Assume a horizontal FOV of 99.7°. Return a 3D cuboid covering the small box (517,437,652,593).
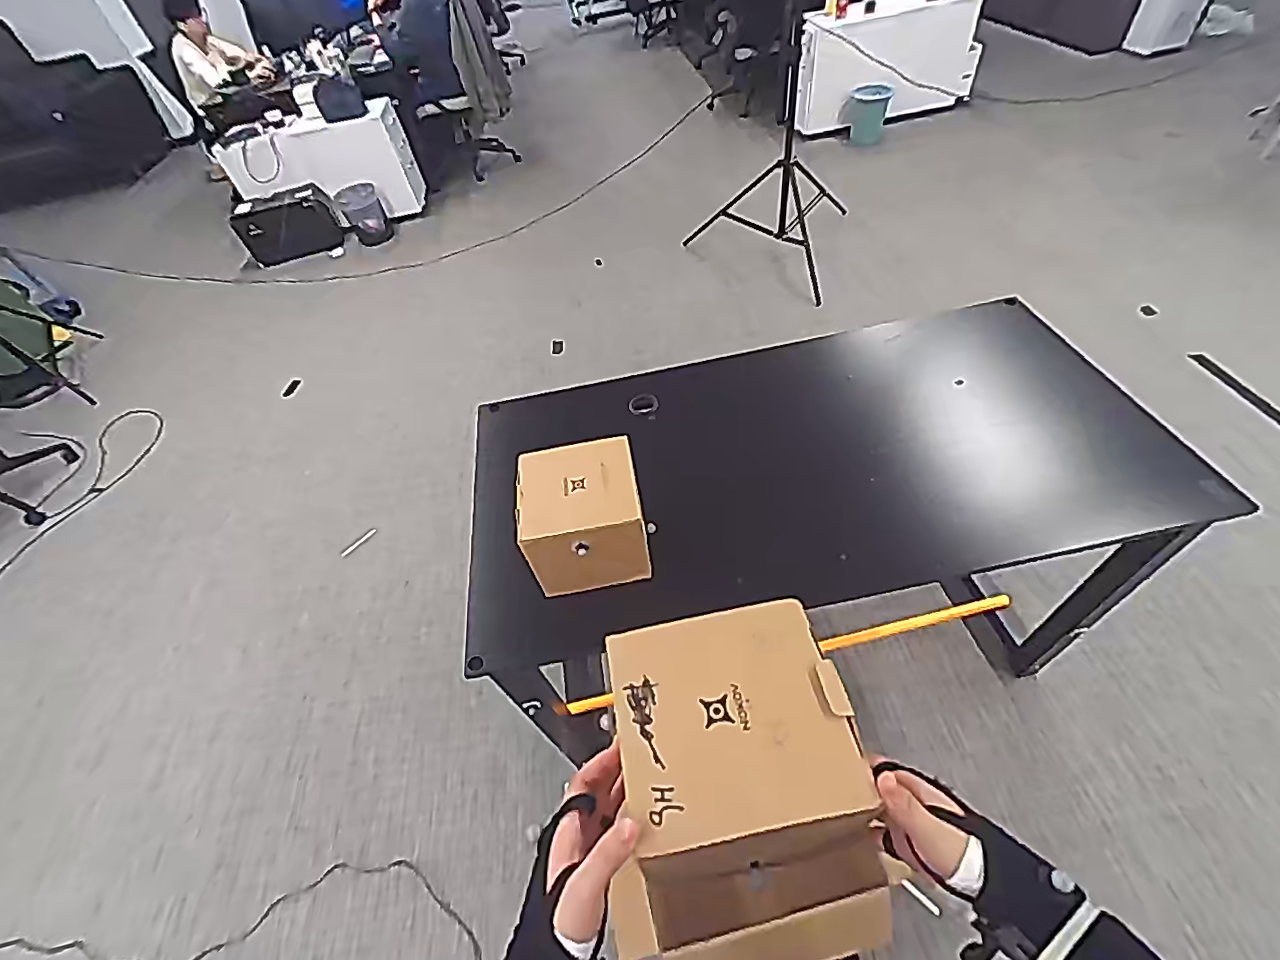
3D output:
[{"bbox_3d":[-0.085,0.060,0.848,0.179,0.176,0.168,-11,51,-1],"label":"small box"}]
